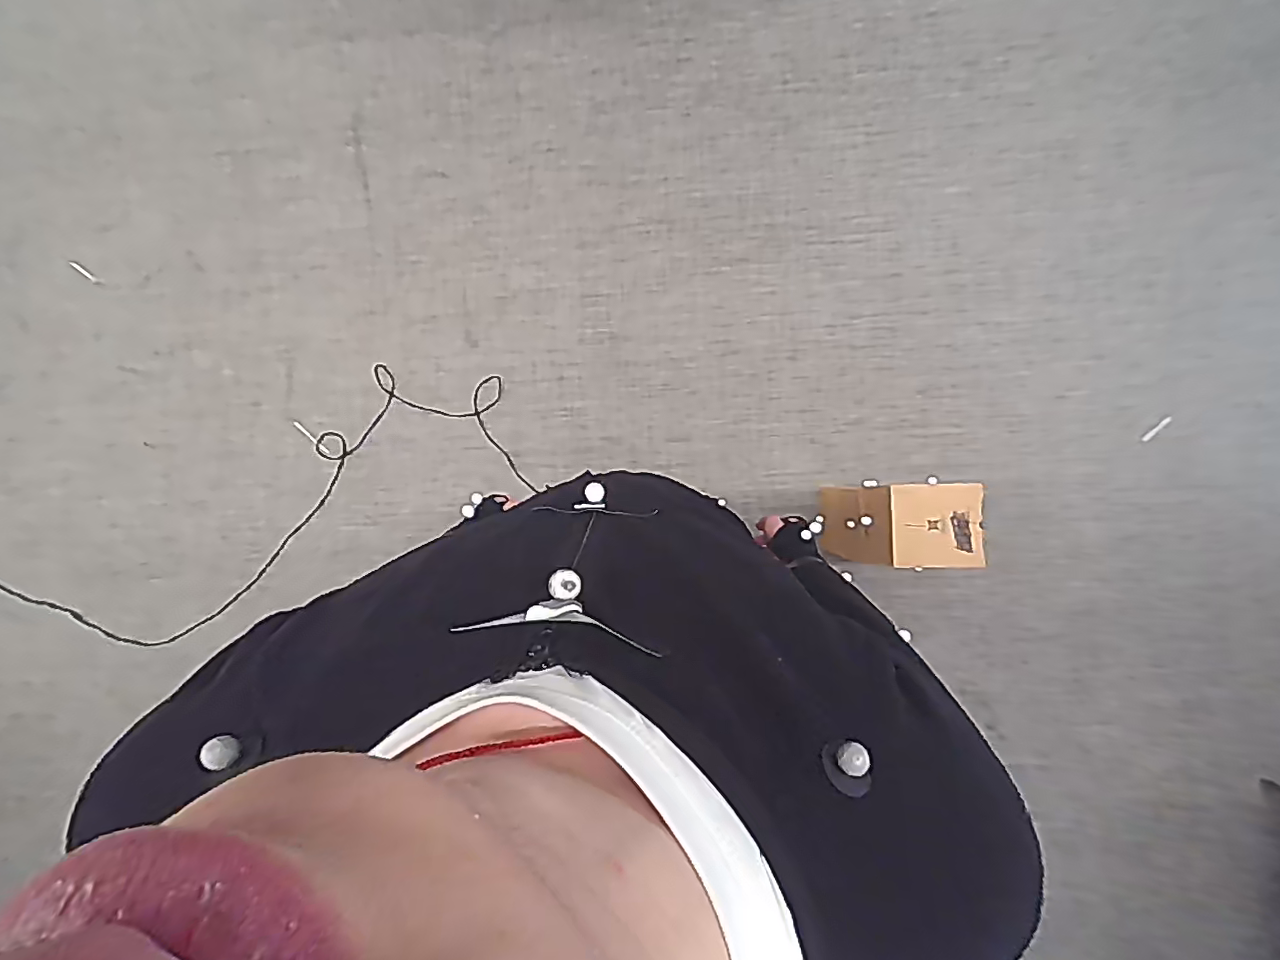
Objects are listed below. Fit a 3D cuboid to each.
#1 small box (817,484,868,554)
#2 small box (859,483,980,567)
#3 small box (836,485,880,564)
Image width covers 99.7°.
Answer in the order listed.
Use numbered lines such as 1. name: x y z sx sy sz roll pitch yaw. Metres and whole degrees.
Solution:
1. small box: 0.587 0.102 1.467 0.168 0.176 0.179 -1 90 2
2. small box: 0.581 0.089 1.139 0.179 0.176 0.168 -1 89 3
3. small box: 0.581 0.101 1.306 0.168 0.176 0.179 -2 92 3
